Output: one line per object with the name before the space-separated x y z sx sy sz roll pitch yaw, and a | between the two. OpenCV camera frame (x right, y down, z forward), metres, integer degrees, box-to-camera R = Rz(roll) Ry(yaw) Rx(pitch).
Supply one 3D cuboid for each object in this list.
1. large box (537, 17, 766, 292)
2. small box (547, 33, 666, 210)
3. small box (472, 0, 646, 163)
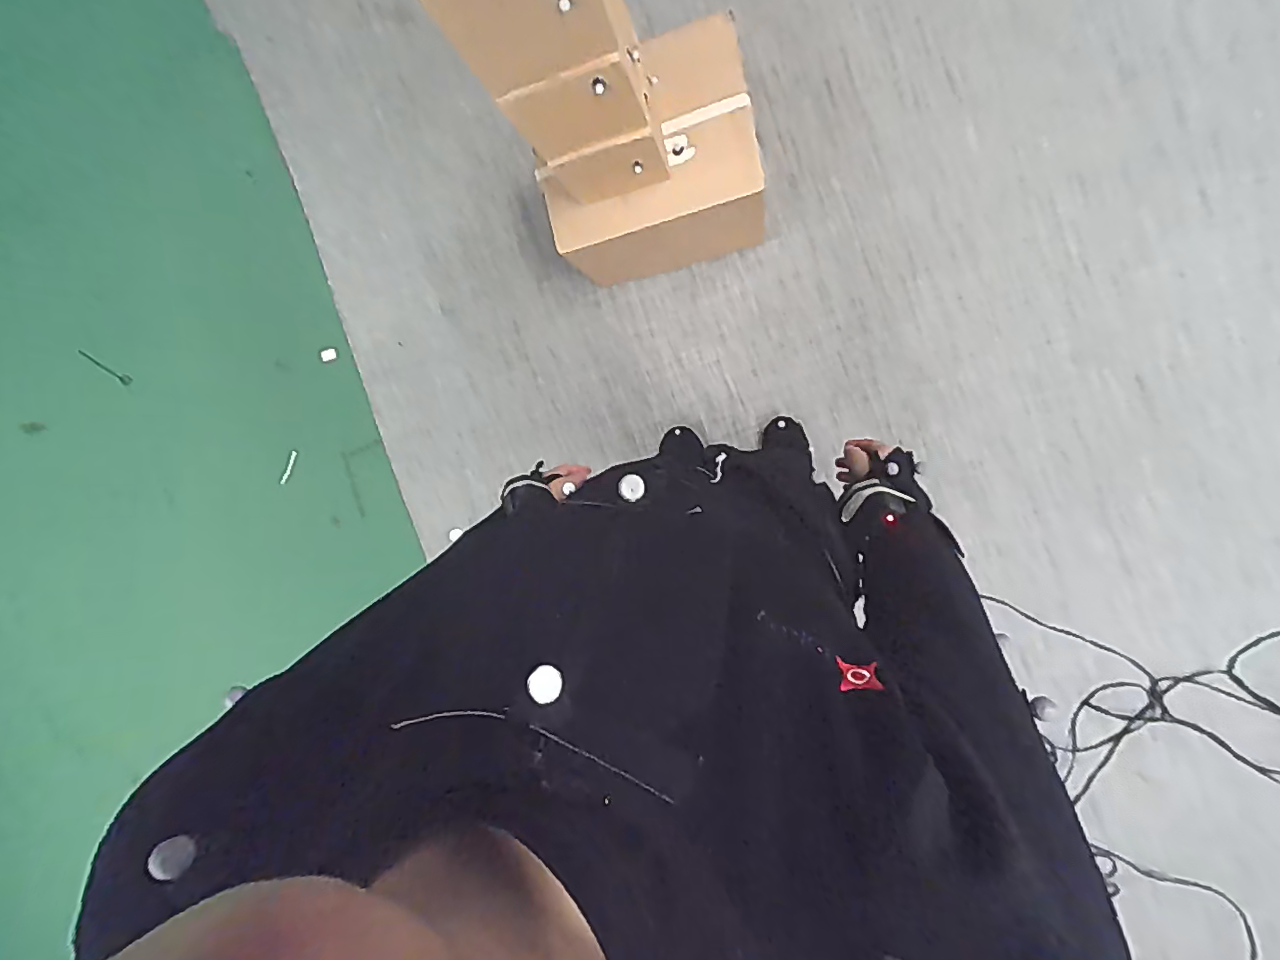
large box | 0.031 -0.633 1.138 0.408 0.320 0.320 -12 95 13
small box | -0.059 -0.589 0.914 0.179 0.176 0.168 -11 93 15
small box | -0.104 -0.583 0.757 0.179 0.176 0.168 -12 93 13
